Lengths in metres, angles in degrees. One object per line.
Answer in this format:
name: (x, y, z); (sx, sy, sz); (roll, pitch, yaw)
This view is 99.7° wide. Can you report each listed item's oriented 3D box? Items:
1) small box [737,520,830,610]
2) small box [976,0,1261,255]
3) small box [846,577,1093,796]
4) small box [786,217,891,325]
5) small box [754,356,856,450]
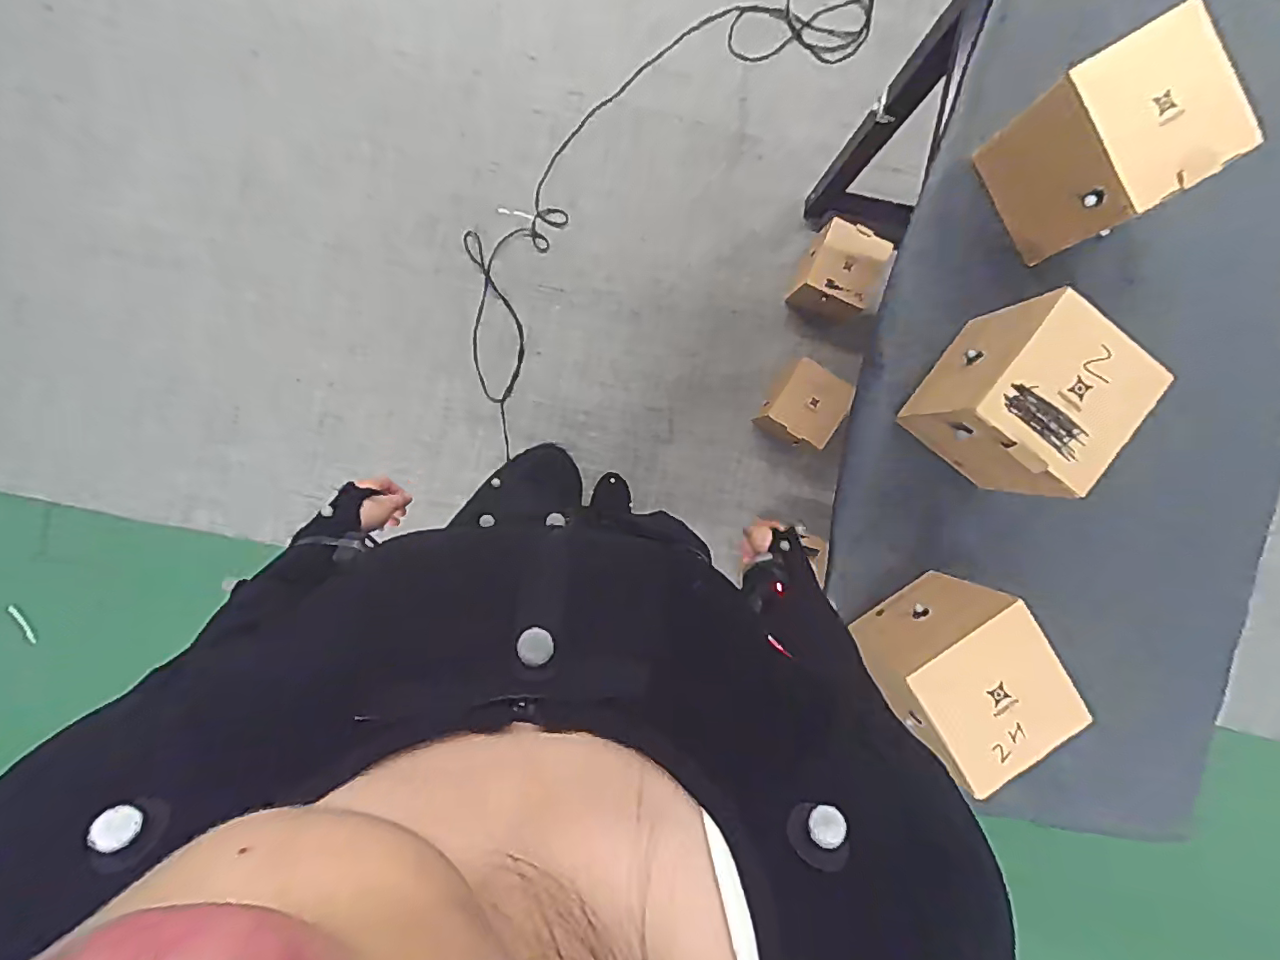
small box: (0.367, 0.214, 1.417); (0.168, 0.176, 0.179); (17, 93, -3)
small box: (0.563, -0.415, 0.664); (0.168, 0.176, 0.179); (-31, 94, -1)
small box: (0.399, 0.240, 0.686); (0.168, 0.176, 0.179); (-32, 94, -3)
small box: (0.497, -0.526, 1.384); (0.168, 0.176, 0.179); (24, 91, -3)
small box: (0.413, -0.190, 1.398); (0.168, 0.176, 0.179); (32, 90, -4)
